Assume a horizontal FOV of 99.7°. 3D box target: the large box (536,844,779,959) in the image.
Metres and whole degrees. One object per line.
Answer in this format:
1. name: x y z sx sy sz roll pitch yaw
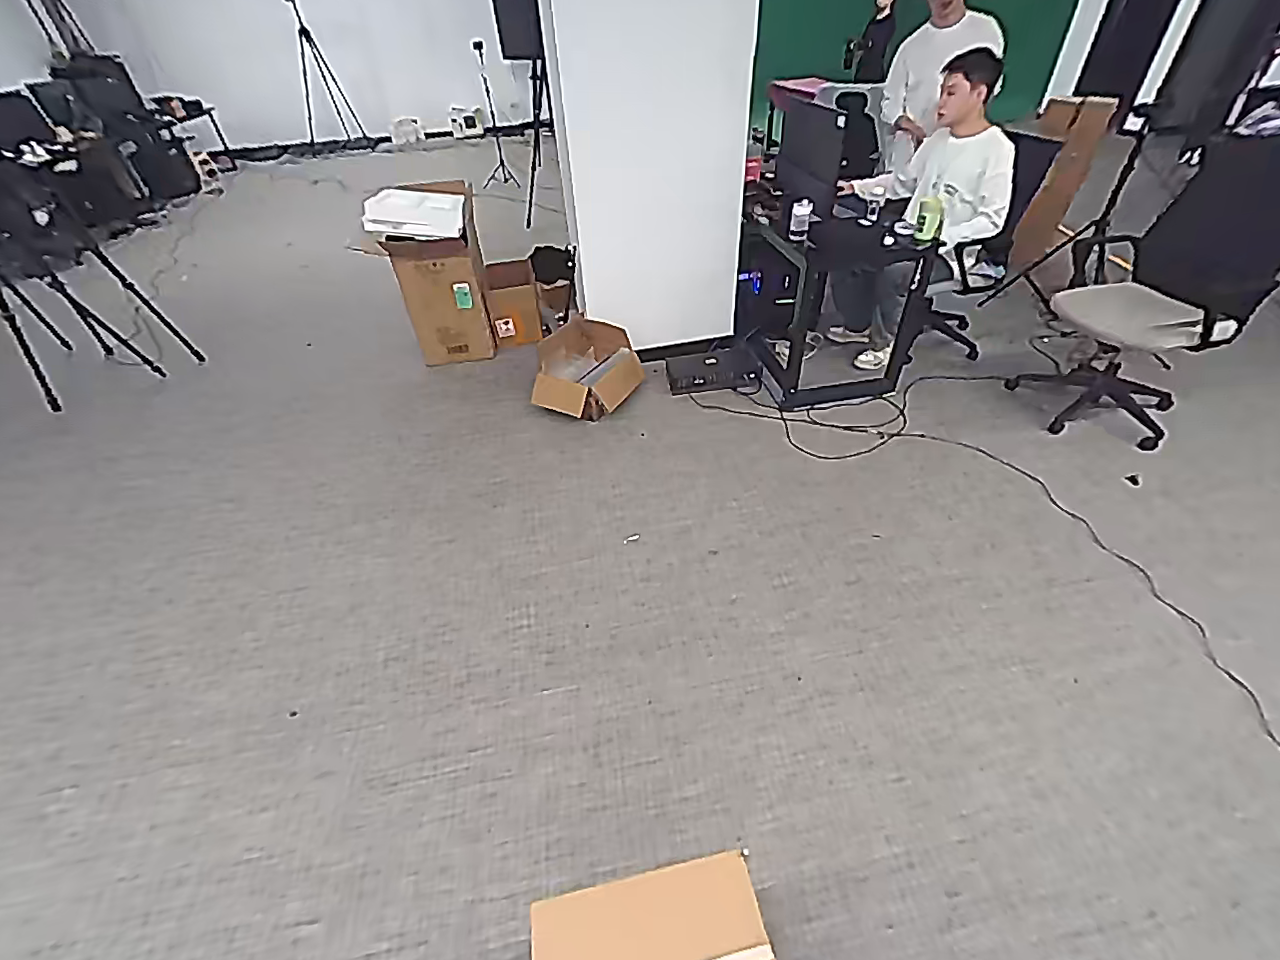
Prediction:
1. large box: 0.041 0.944 0.994 0.408 0.320 0.320 -10 42 -8
